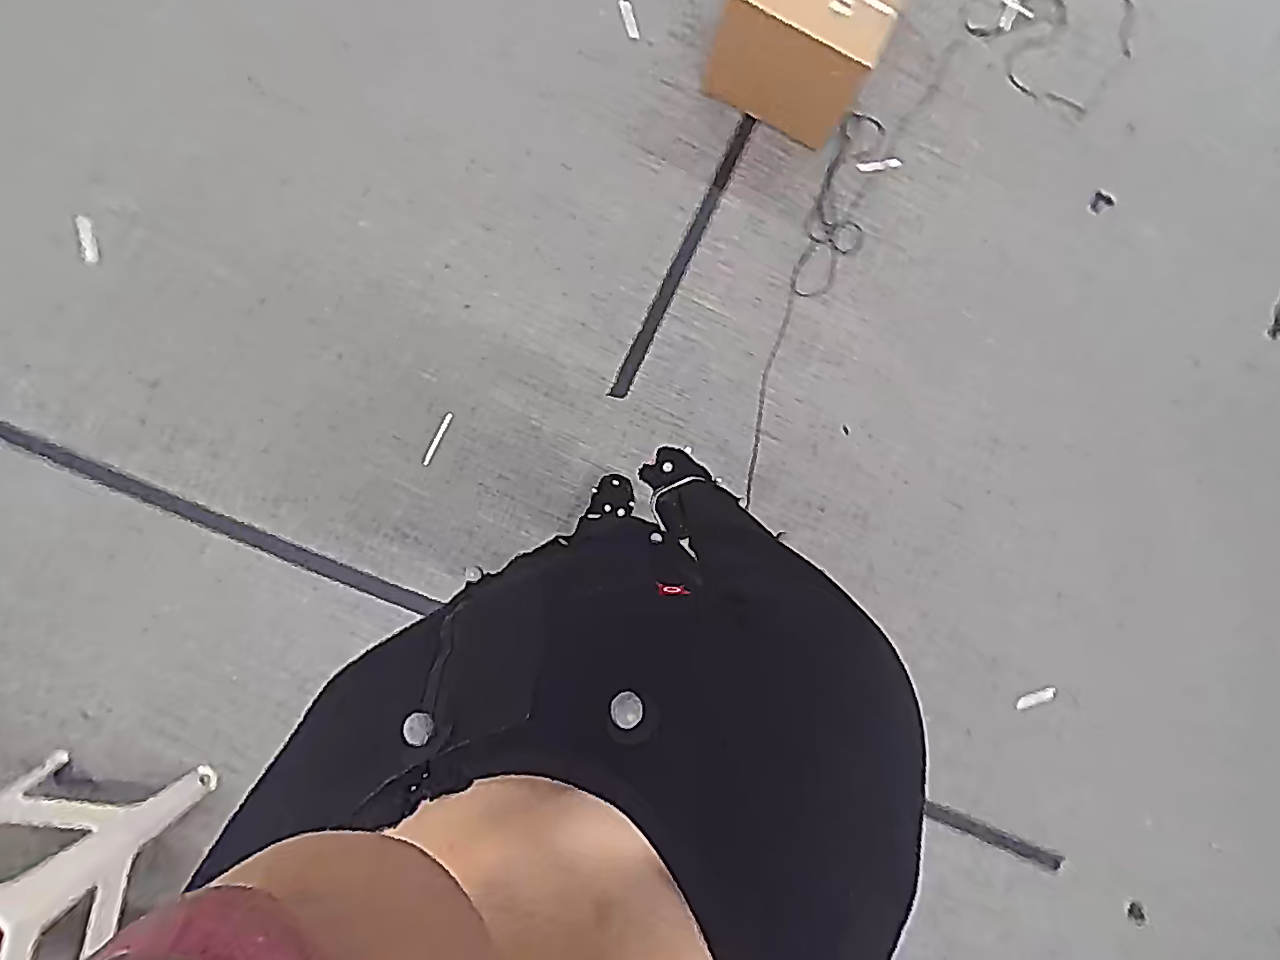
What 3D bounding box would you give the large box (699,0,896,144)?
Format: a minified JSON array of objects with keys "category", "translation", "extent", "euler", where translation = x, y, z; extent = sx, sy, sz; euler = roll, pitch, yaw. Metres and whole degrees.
[{"category":"large box","translation":[0.427,-1.238,1.490],"extent":[0.408,0.320,0.320],"euler":[25,84,-5]}]
